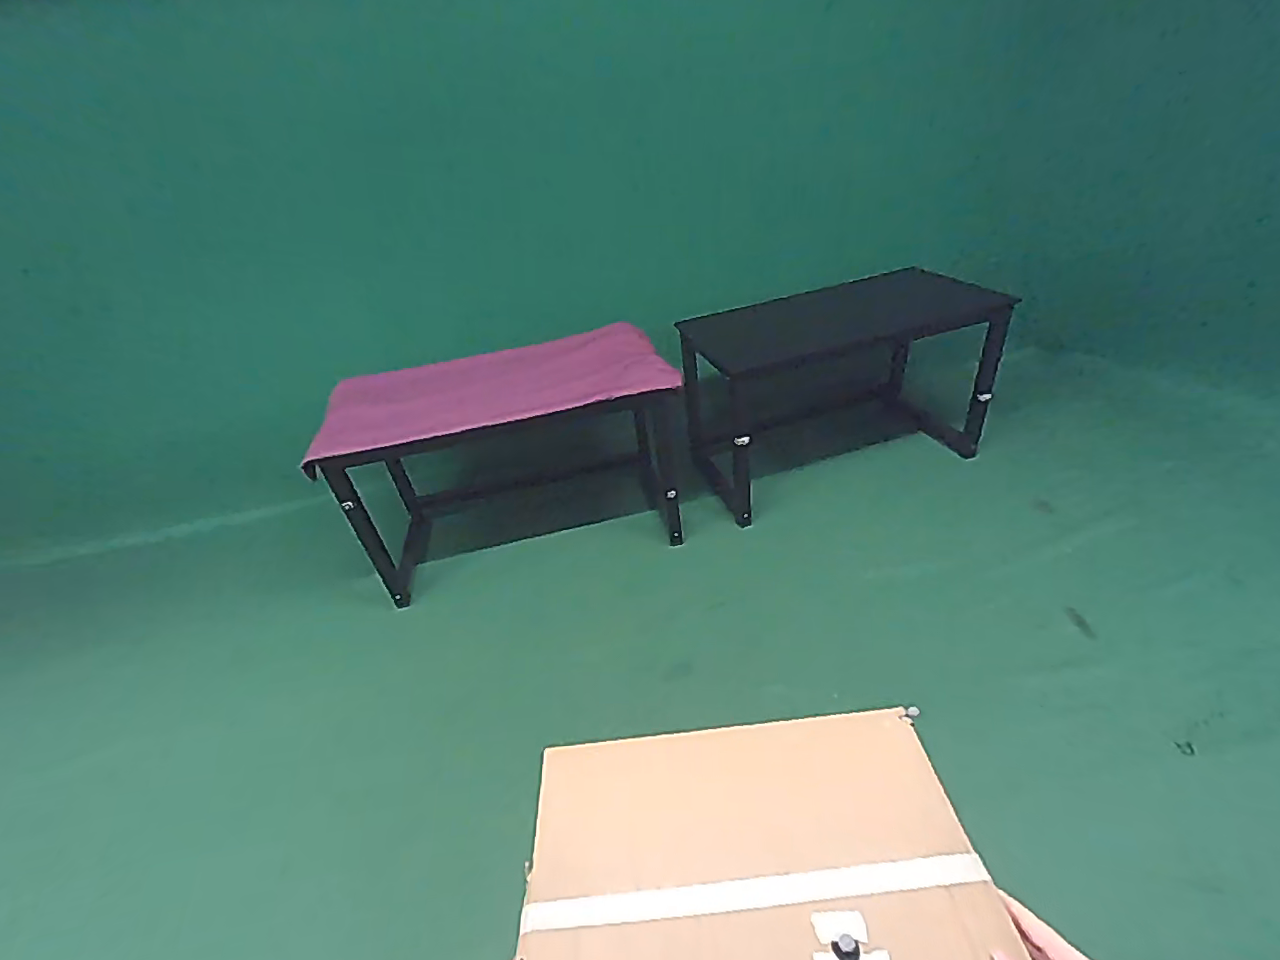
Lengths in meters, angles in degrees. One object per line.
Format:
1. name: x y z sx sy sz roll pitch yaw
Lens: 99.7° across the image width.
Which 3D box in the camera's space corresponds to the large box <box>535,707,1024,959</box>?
1. large box: 0.119 0.488 0.569 0.408 0.320 0.320 -7 35 1
